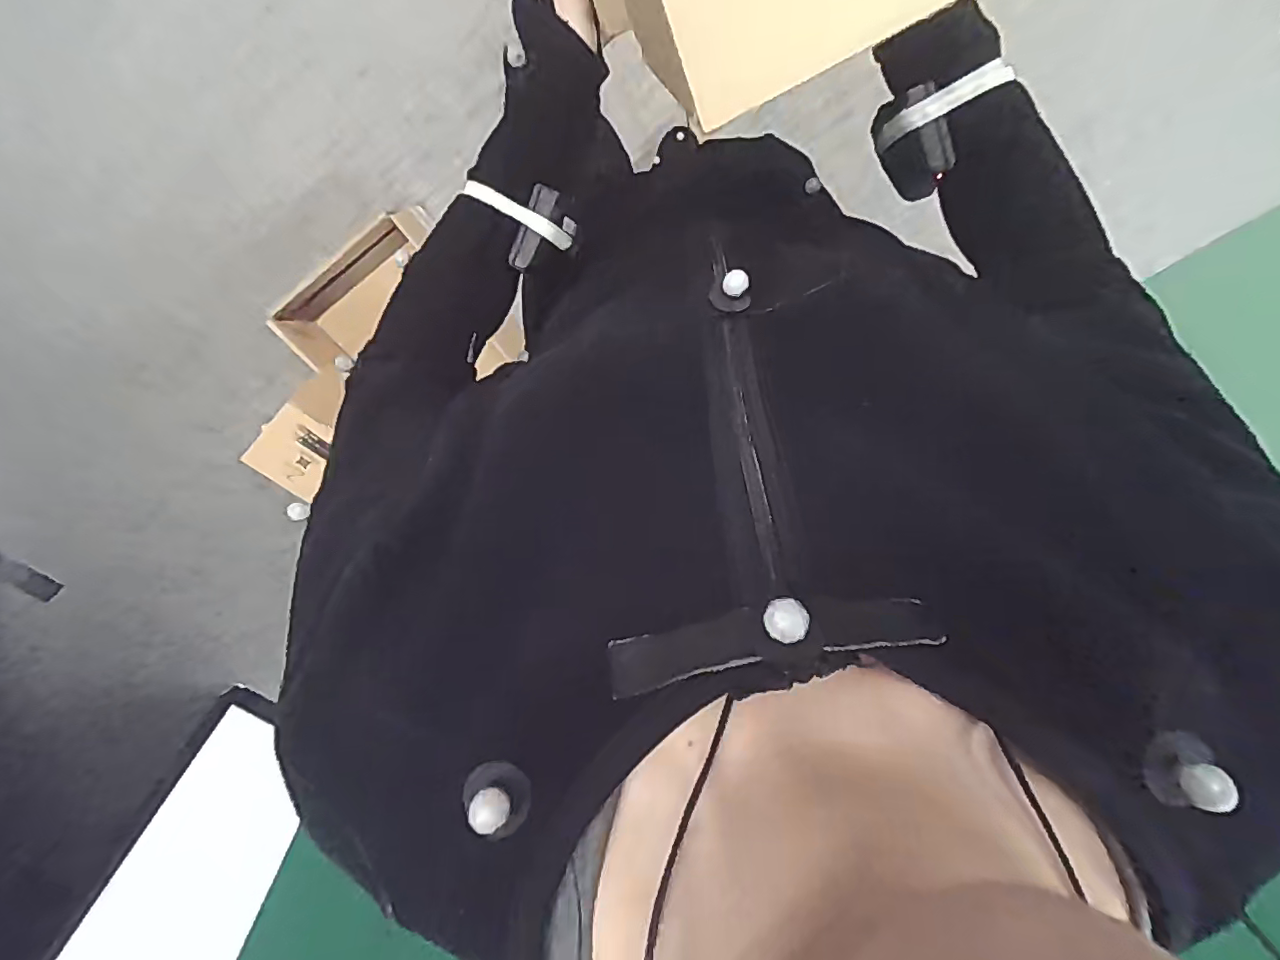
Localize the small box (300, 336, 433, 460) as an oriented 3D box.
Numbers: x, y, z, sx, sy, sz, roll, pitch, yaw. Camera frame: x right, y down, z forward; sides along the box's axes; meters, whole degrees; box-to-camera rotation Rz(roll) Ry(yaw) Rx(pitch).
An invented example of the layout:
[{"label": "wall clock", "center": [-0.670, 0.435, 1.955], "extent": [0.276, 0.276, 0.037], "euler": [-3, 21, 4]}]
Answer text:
[{"label": "small box", "center": [-0.588, -0.183, 1.191], "extent": [0.168, 0.176, 0.179], "euler": [-33, 120, 18]}]

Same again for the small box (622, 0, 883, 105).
[{"label": "small box", "center": [0.046, -0.268, 0.171], "extent": [0.168, 0.176, 0.179], "euler": [-21, 132, 13]}]
